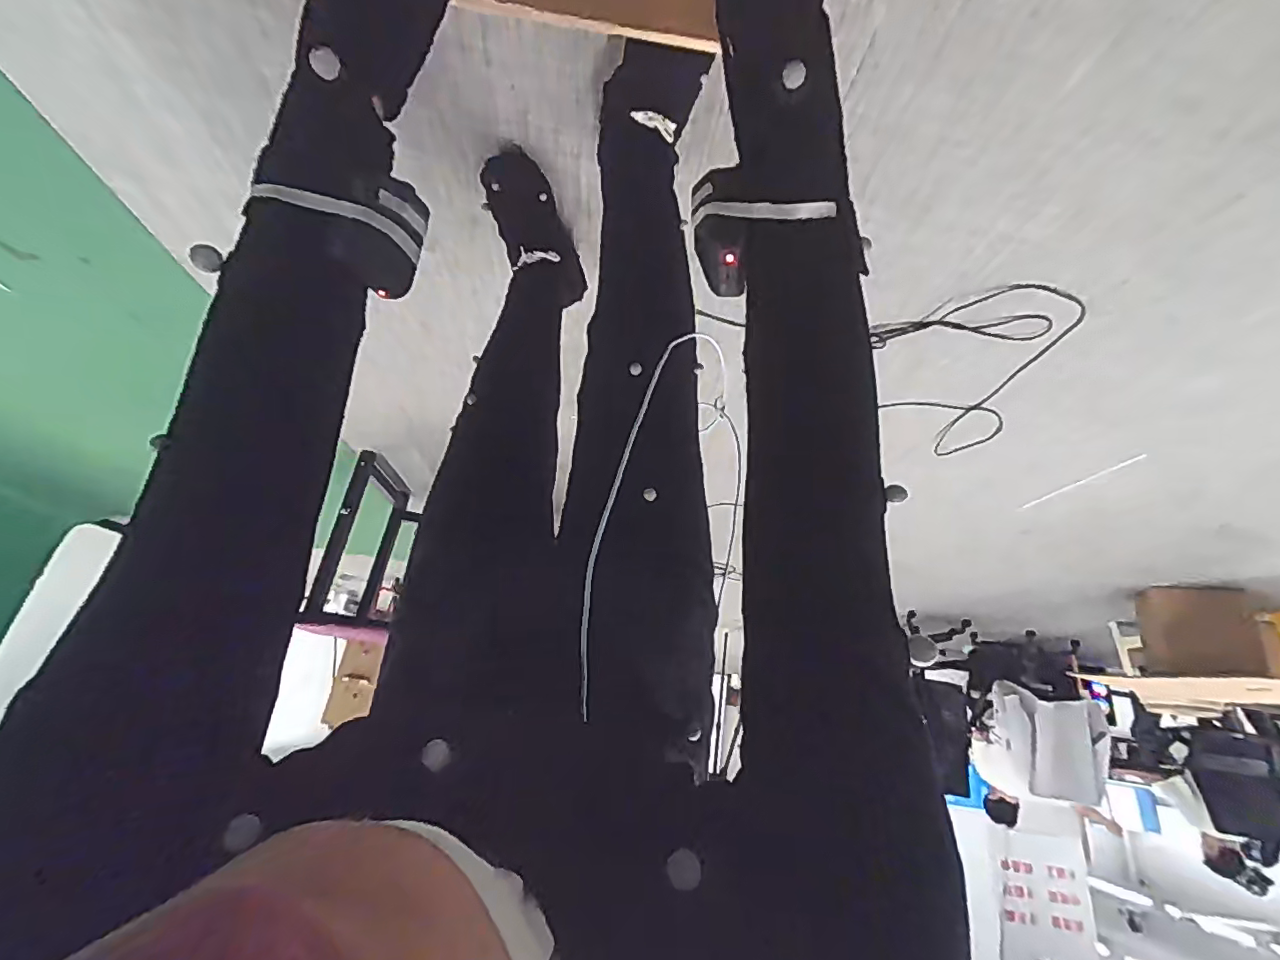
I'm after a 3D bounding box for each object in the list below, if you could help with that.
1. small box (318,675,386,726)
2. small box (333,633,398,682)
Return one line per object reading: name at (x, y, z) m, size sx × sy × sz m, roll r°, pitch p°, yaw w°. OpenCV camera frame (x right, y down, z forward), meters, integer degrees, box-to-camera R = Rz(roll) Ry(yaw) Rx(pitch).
small box at (-1.152, 0.886, 2.181) m, size 0.168 × 0.176 × 0.179 m, roll 10°, pitch 158°, yaw -2°
small box at (-1.126, 0.735, 2.237) m, size 0.168 × 0.176 × 0.179 m, roll 9°, pitch 158°, yaw -2°
